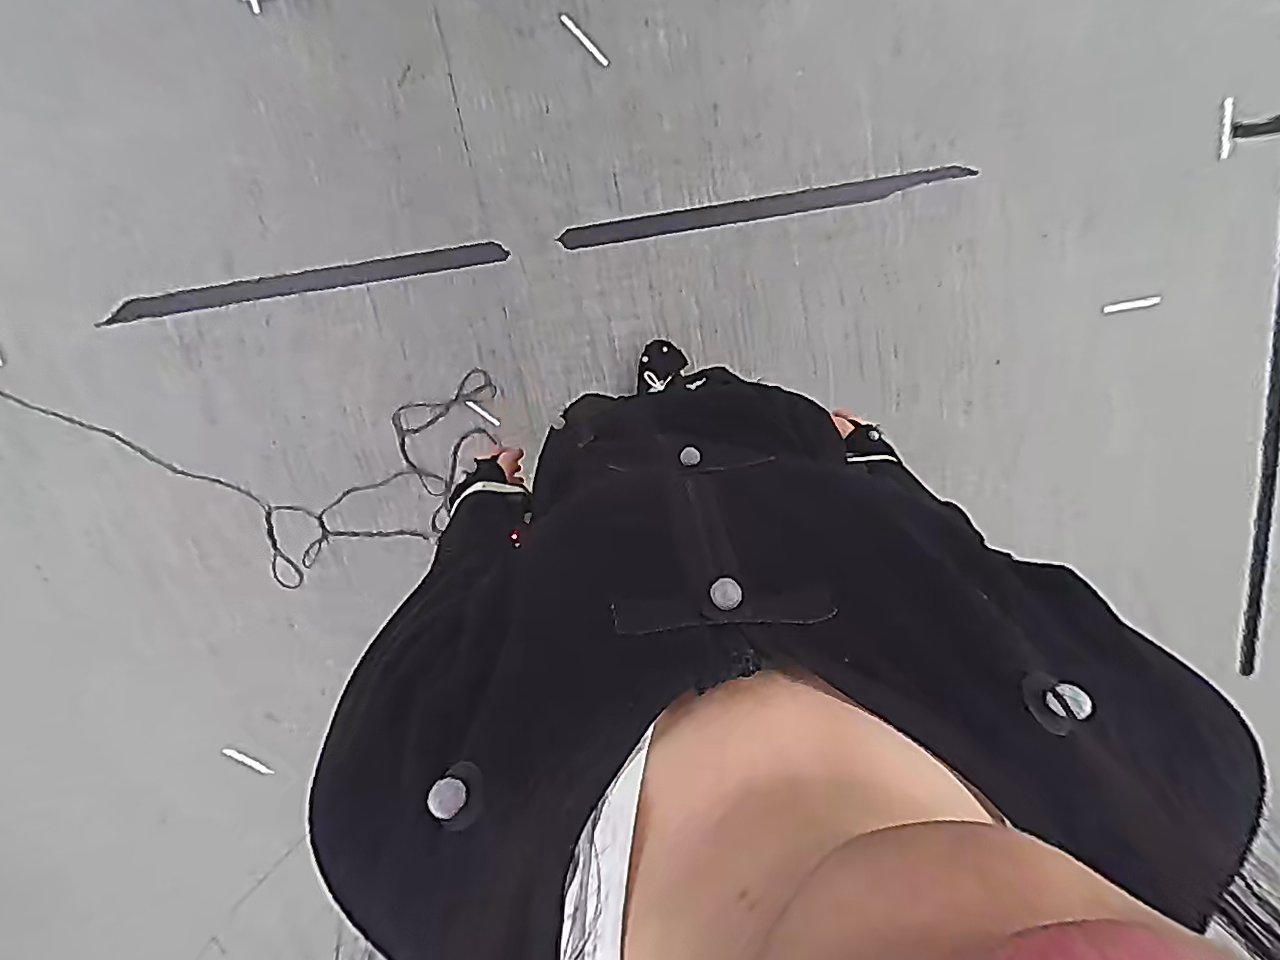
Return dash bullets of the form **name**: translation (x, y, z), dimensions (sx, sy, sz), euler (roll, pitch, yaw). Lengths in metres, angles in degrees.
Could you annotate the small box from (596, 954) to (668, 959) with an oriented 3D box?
- **small box**: translation (-0.010, 1.085, 1.070), dimensions (0.168, 0.176, 0.179), euler (-7, 103, -1)
